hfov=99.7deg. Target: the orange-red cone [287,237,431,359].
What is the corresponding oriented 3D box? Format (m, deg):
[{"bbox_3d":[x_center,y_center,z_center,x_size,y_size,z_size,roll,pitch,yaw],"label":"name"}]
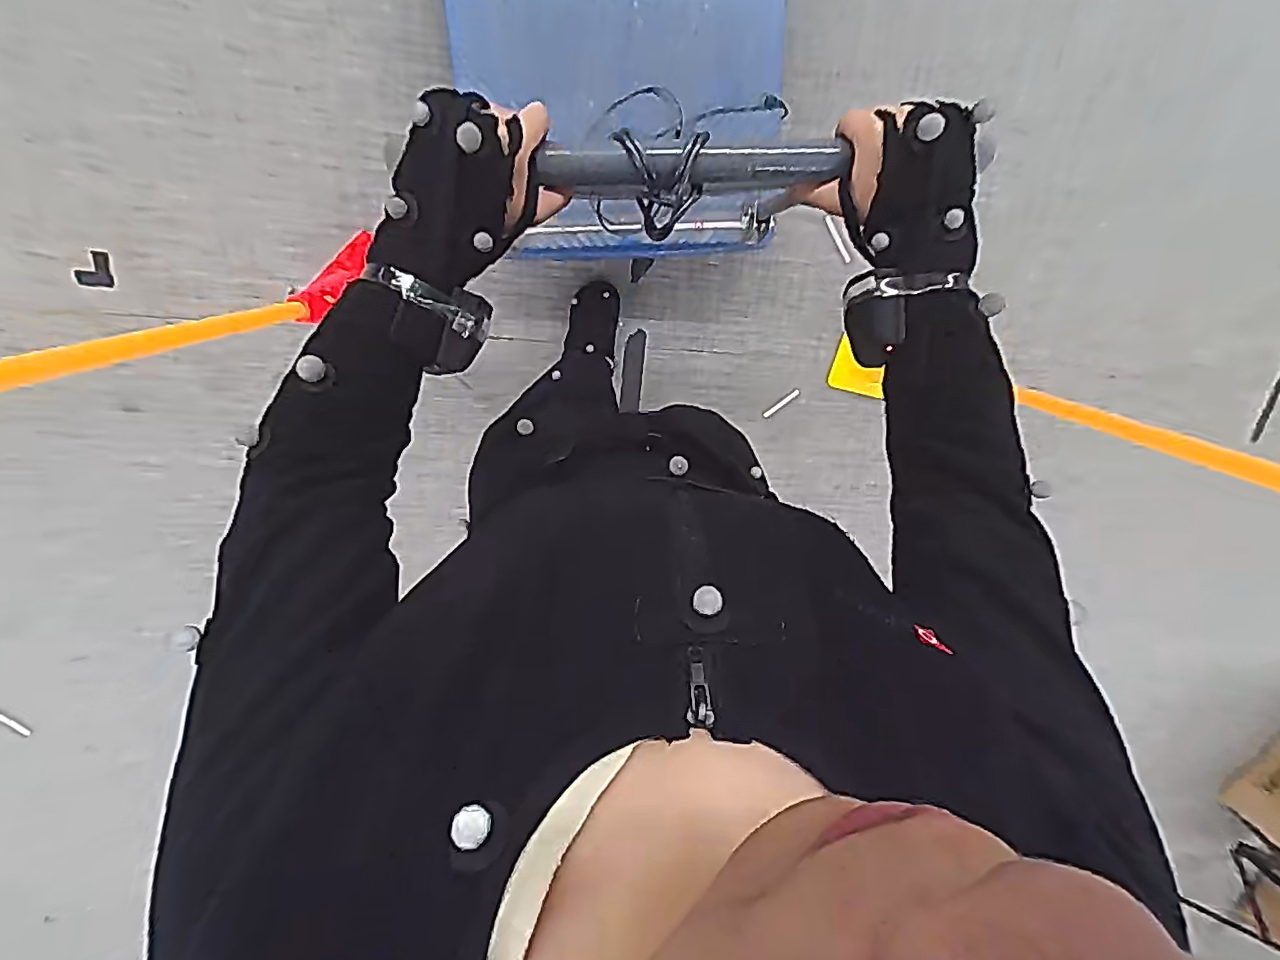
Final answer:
[{"bbox_3d":[-0.559,-0.327,1.008,0.199,0.360,0.198,-40,112,7],"label":"orange-red cone"}]
